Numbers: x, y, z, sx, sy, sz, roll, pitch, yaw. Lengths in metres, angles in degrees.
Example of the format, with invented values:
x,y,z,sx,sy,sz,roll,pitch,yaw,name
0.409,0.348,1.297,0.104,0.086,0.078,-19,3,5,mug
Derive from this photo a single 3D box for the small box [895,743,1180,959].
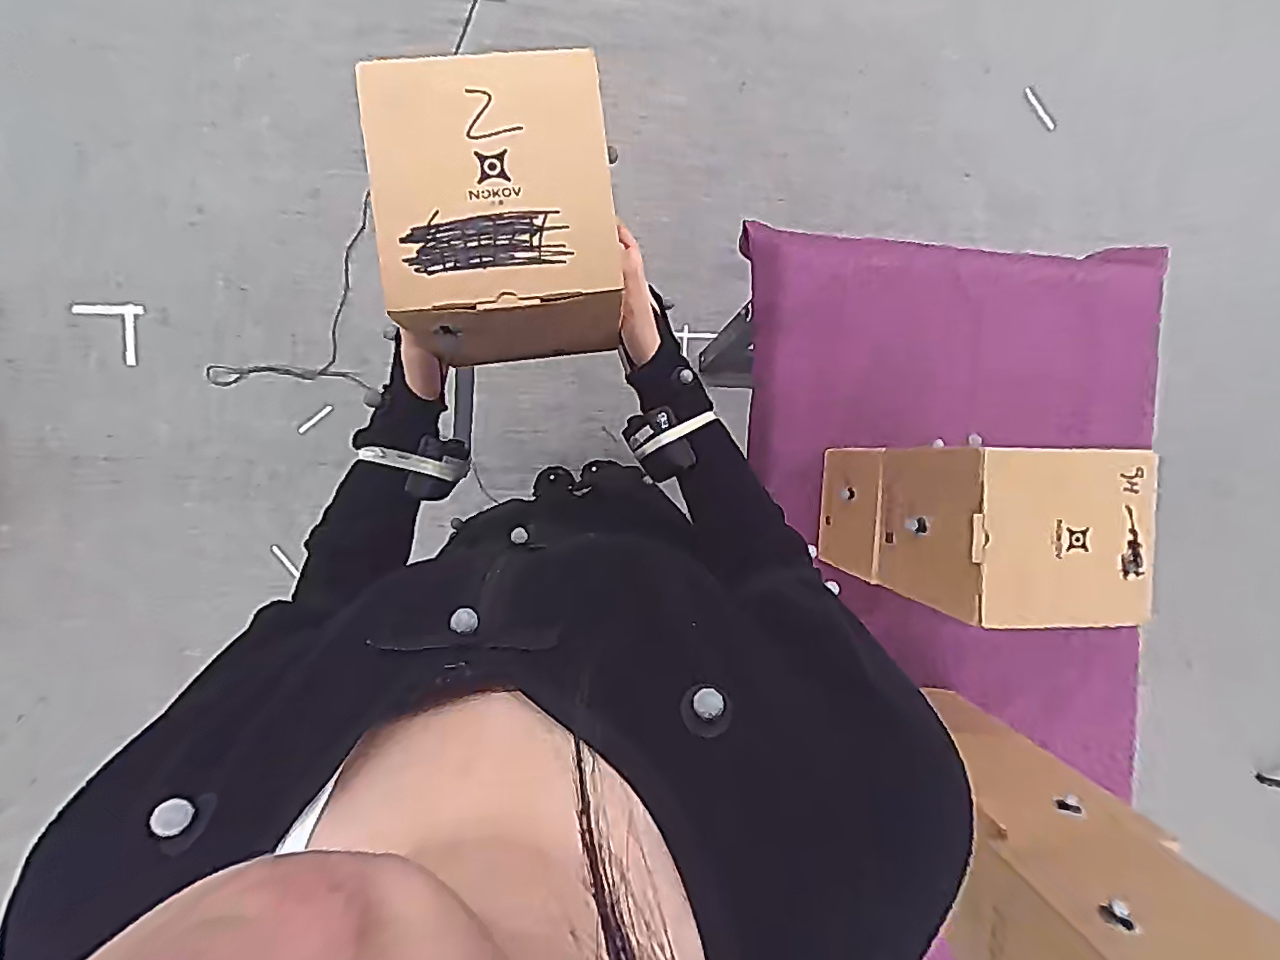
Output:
x,y,z,sx,sy,sz,roll,pitch,yaw,name
0.412,0.407,0.586,0.179,0.176,0.168,5,91,-4,small box

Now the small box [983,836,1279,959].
x,y,z,sx,sy,sz,roll,pitch,yaw,name
0.403,0.413,0.423,0.179,0.176,0.168,2,92,-5,small box

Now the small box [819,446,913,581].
x,y,z,sx,sy,sz,roll,pitch,yaw,name
0.362,0.045,0.737,0.179,0.176,0.168,3,92,-6,small box

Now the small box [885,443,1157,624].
x,y,z,sx,sy,sz,roll,pitch,yaw,name
0.384,0.049,0.575,0.179,0.176,0.168,1,92,-5,small box
